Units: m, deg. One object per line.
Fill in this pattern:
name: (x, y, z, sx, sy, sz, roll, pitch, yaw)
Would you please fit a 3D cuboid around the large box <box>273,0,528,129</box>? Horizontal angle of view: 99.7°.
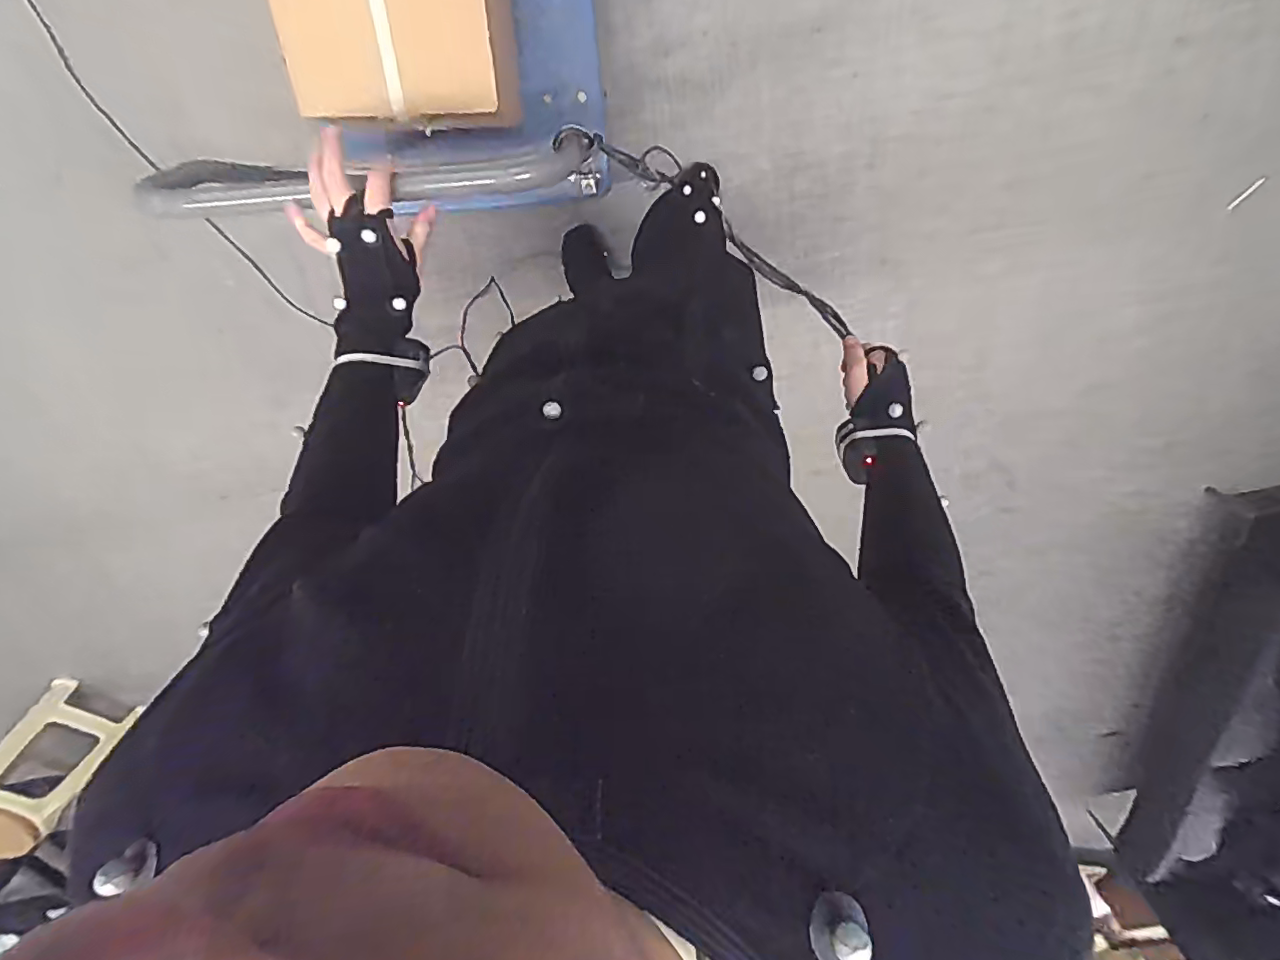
large box: (-0.381, -0.823, 0.876, 0.320, 0.320, 0.408, -3, 119, -2)
